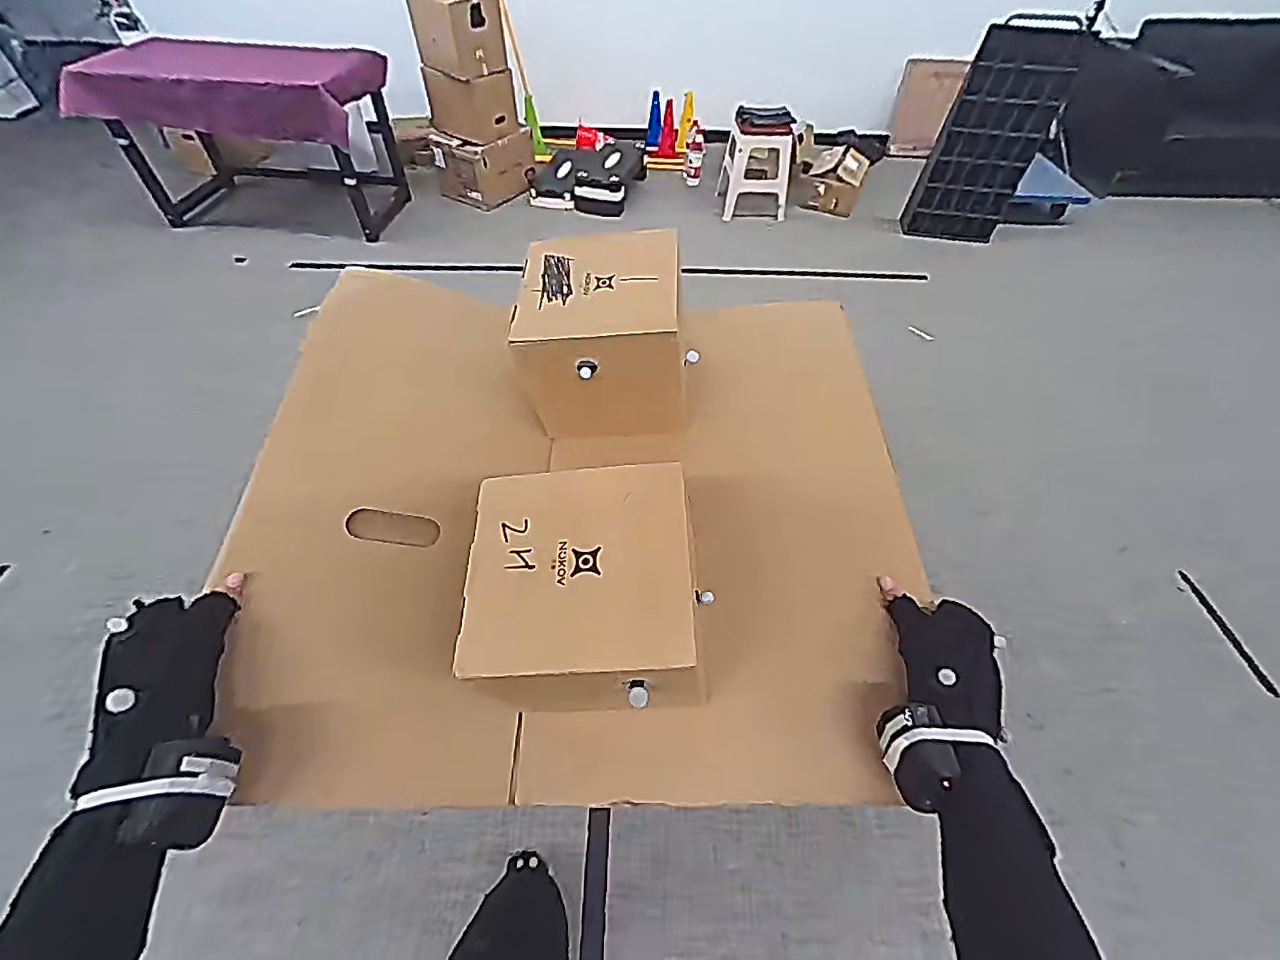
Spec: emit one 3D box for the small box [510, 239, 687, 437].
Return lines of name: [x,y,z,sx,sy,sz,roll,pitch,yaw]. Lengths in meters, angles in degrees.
small box: [-0.036,-0.164,0.660,0.179,0.176,0.168,-1,58,7]

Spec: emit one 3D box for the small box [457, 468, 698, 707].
small box: [-0.038,0.106,0.494,0.179,0.176,0.168,-5,58,7]
